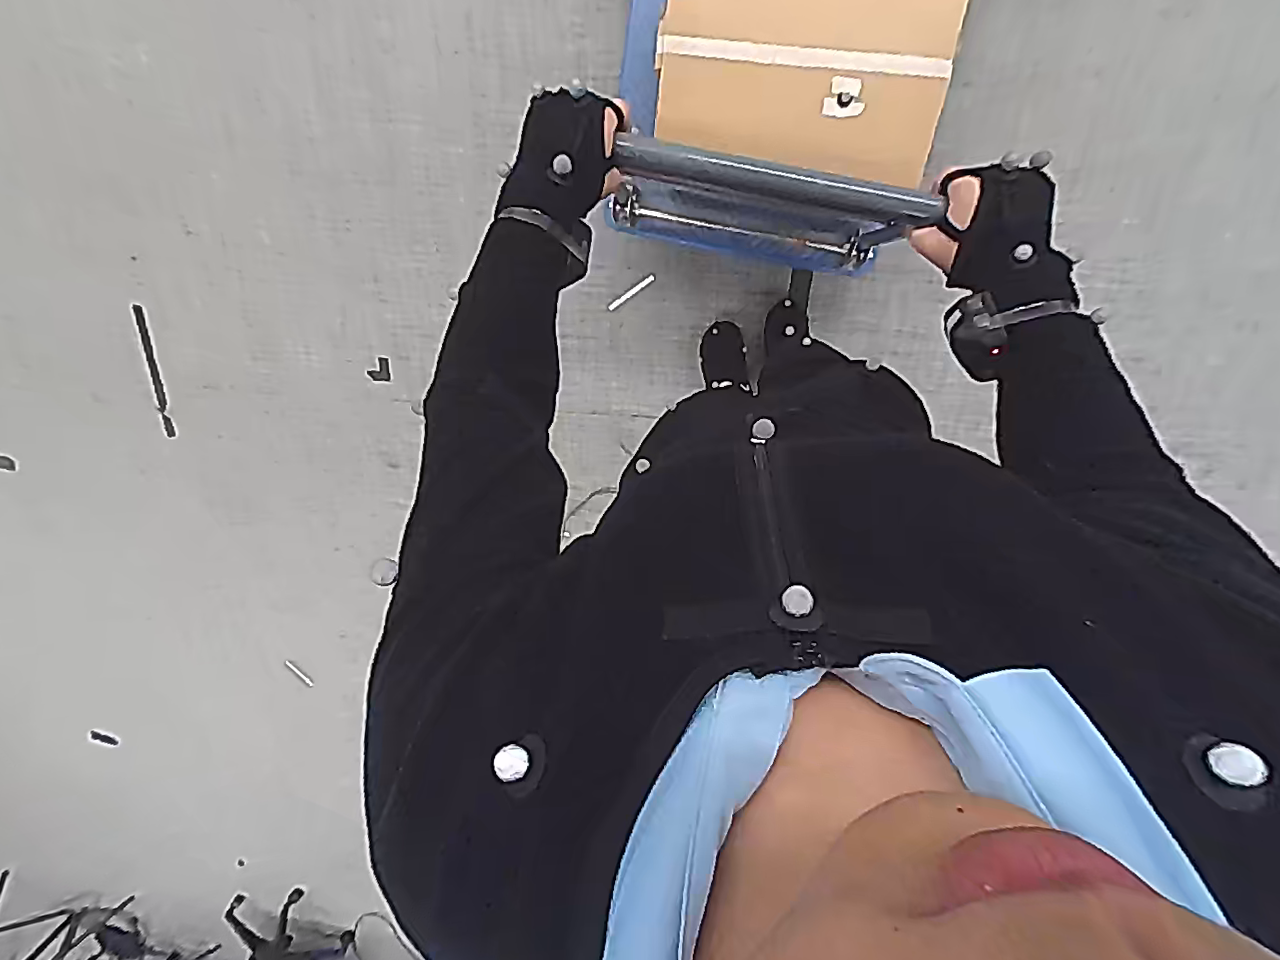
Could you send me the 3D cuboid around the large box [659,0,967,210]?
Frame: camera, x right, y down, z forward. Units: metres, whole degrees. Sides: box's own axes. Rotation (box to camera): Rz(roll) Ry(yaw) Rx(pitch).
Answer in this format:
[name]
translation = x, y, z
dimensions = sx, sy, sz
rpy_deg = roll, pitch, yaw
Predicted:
[large box]
translation = 0.251, -0.654, 0.910
dimensions = 0.408, 0.320, 0.320
rpy_deg = 8, 113, 3
